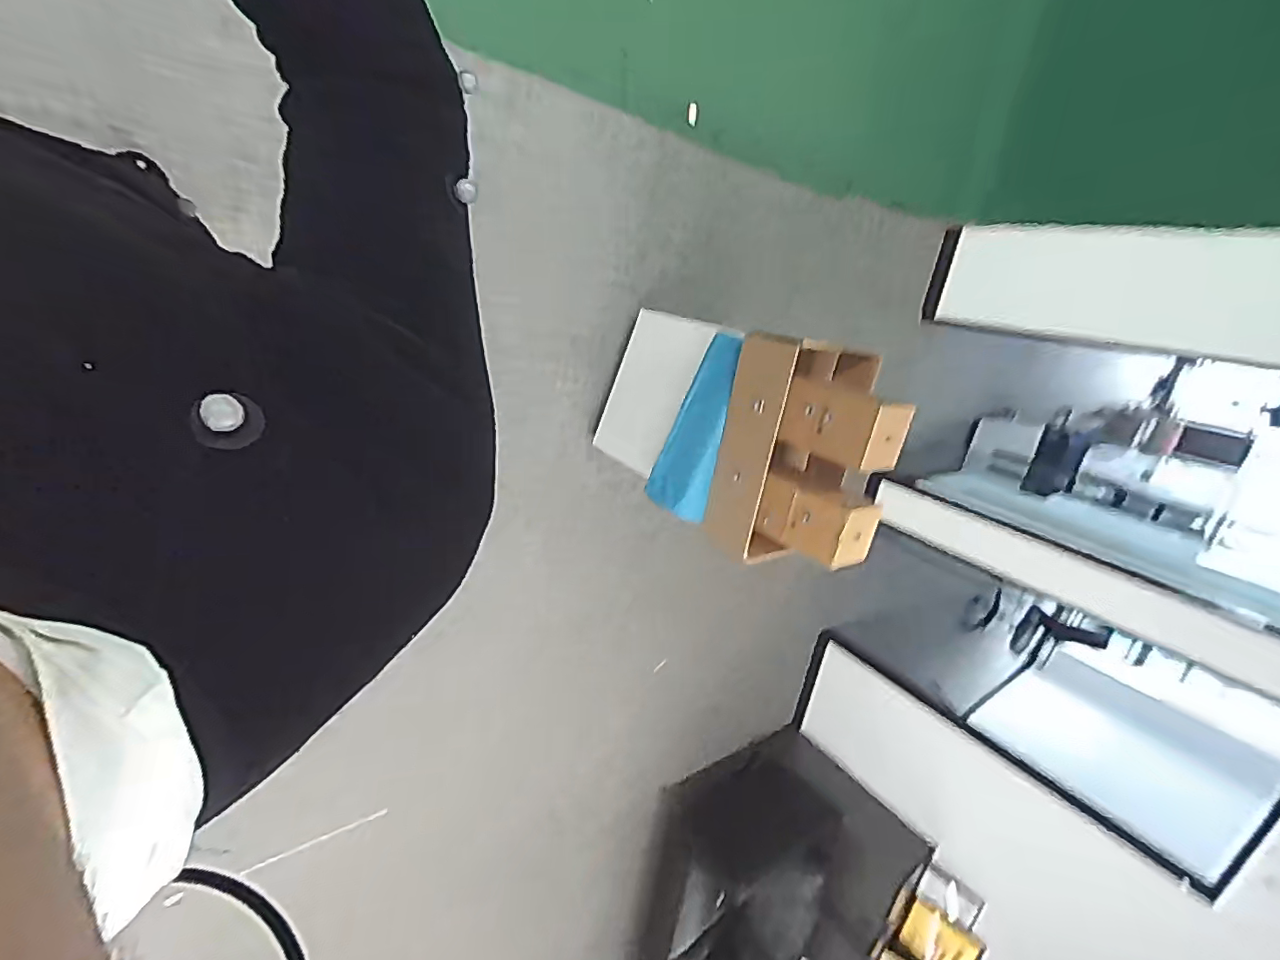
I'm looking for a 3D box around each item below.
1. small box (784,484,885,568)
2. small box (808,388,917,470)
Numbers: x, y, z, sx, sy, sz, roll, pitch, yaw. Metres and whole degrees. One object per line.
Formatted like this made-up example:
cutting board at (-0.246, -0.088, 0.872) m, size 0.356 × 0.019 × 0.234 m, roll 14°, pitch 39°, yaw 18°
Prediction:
small box at (0.527, 0.117, 1.477) m, size 0.179 × 0.176 × 0.168 m, roll -5°, pitch 114°, yaw -38°
small box at (0.564, -0.135, 1.381) m, size 0.179 × 0.176 × 0.168 m, roll -5°, pitch 115°, yaw -38°
